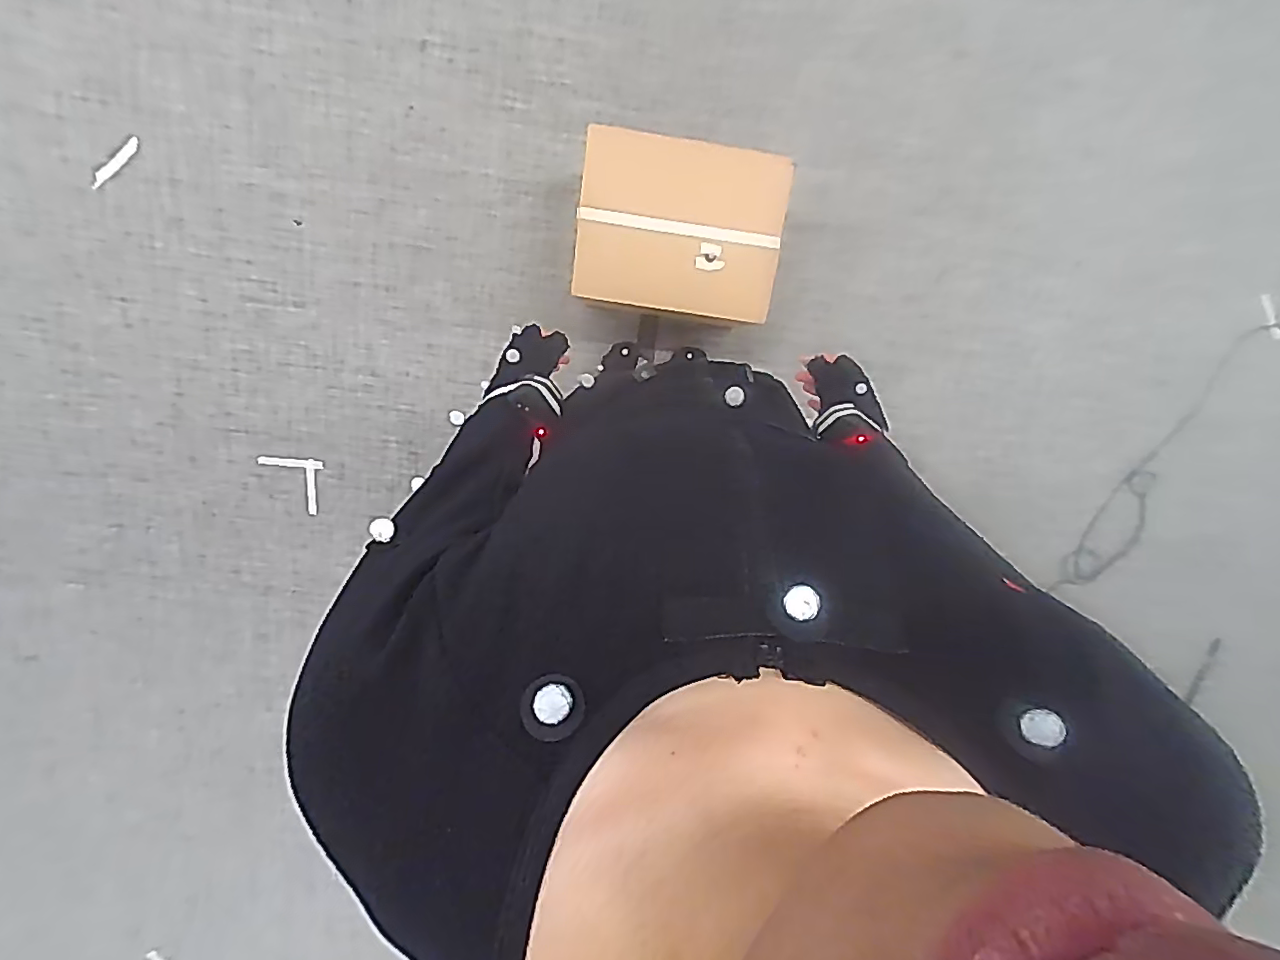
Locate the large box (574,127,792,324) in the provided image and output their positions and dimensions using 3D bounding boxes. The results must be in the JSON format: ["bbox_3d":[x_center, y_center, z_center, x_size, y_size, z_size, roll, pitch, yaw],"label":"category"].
[{"bbox_3d":[0.072,-0.534,1.209,0.408,0.320,0.320,7,105,-4],"label":"large box"}]
